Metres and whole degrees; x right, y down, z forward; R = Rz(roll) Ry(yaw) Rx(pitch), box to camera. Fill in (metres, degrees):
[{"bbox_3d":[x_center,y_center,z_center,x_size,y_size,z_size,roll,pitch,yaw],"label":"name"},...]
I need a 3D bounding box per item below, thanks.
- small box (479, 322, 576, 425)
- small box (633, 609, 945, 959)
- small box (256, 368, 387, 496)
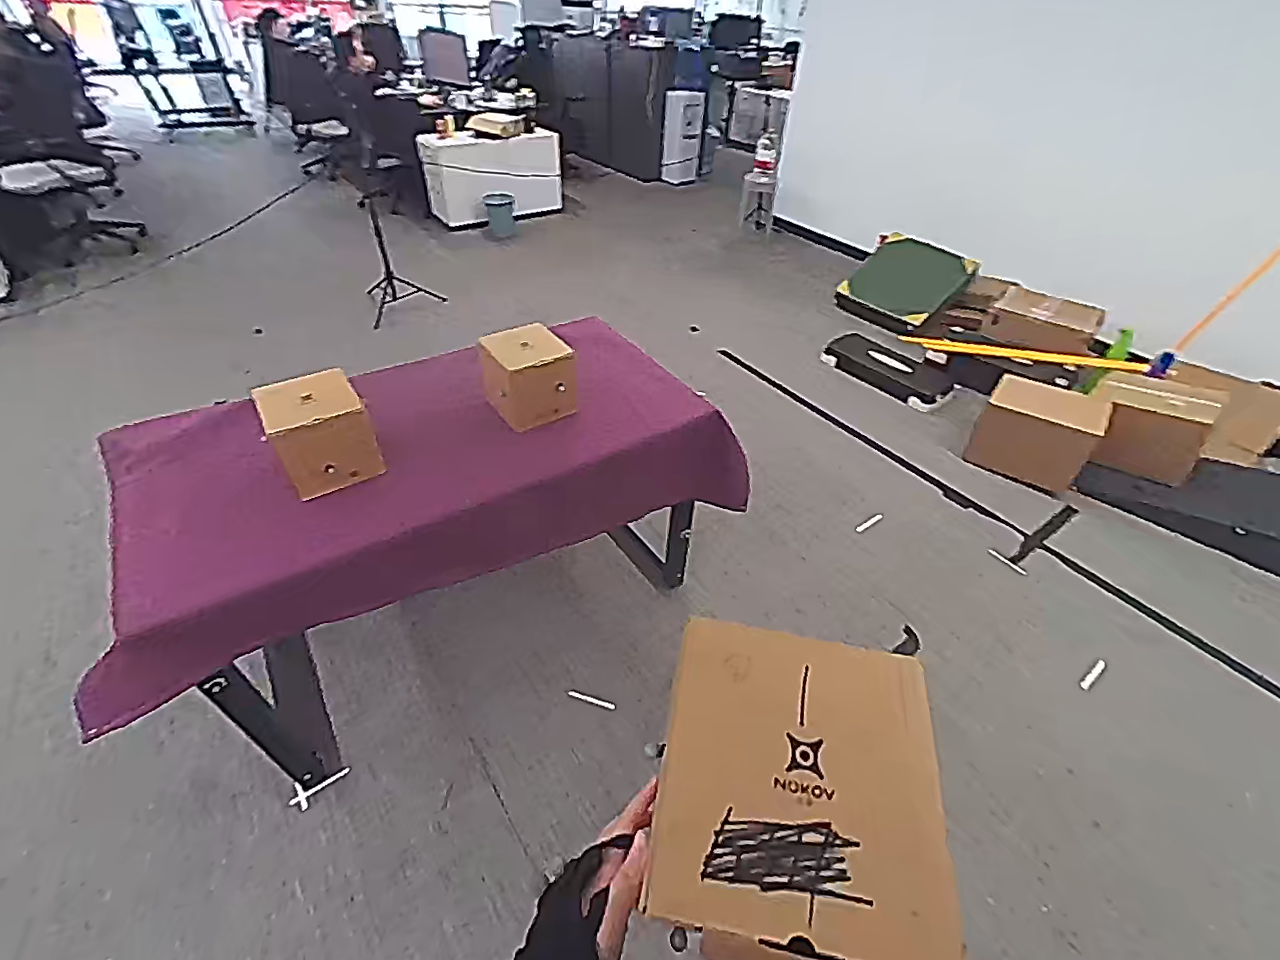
[{"bbox_3d":[-0.261,-0.248,1.286,0.168,0.176,0.179,-24,49,-27],"label":"small box"},{"bbox_3d":[0.092,0.223,0.397,0.168,0.176,0.179,10,52,5],"label":"small box"},{"bbox_3d":[-0.641,-0.097,1.098,0.168,0.176,0.179,-25,50,-28],"label":"small box"}]
